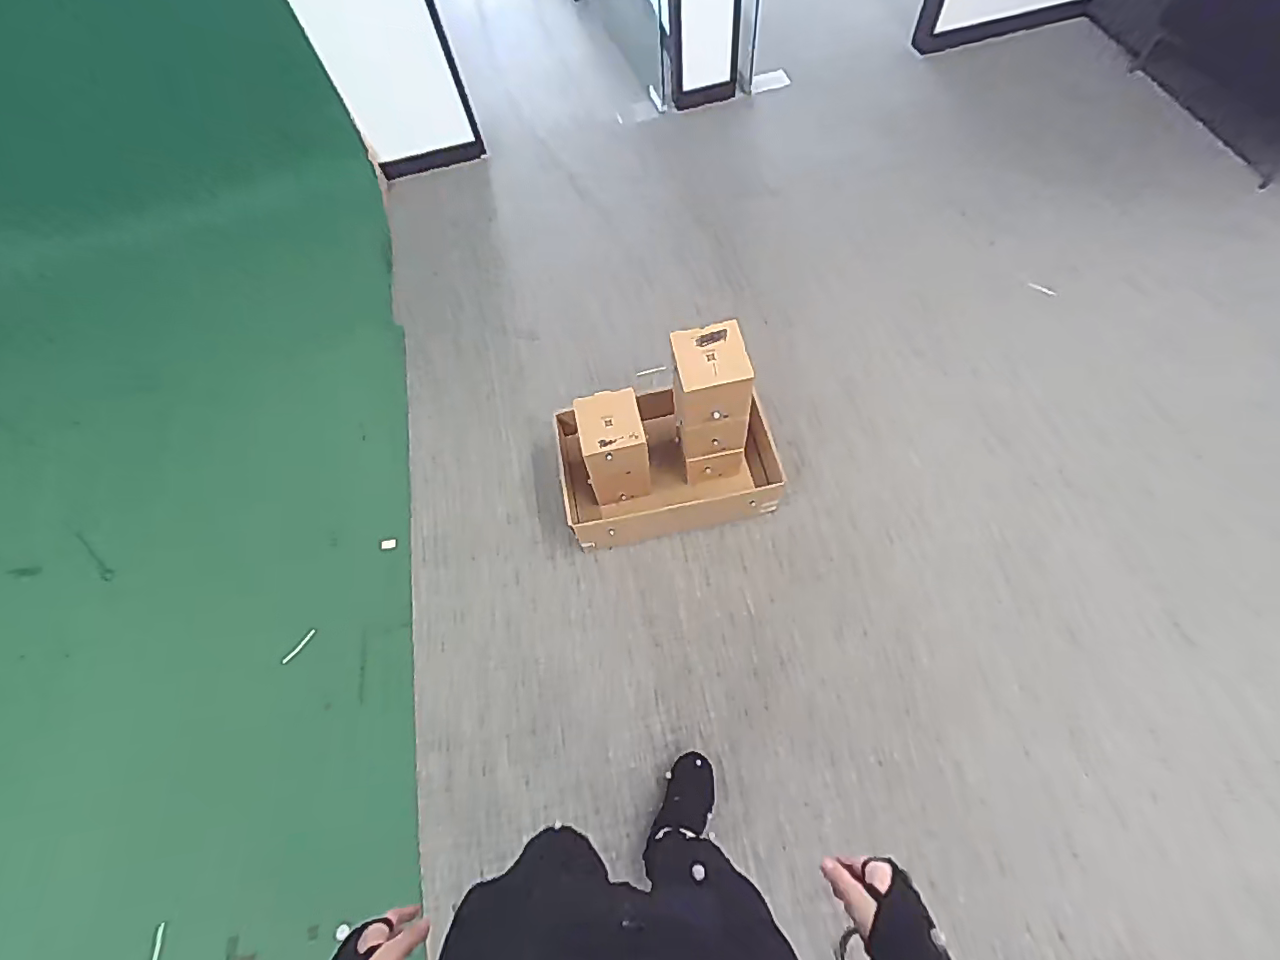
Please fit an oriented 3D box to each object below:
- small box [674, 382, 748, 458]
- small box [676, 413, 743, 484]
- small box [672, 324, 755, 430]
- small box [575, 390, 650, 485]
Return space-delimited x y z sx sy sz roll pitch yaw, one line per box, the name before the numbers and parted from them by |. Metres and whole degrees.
small box | 0.191 -0.174 1.470 0.168 0.176 0.179 -11 63 1
small box | 0.206 -0.101 1.616 0.168 0.176 0.179 -11 64 1
small box | 0.174 -0.248 1.323 0.168 0.176 0.179 -12 65 2
small box | -0.072 -0.111 1.461 0.168 0.176 0.179 -13 64 -1
